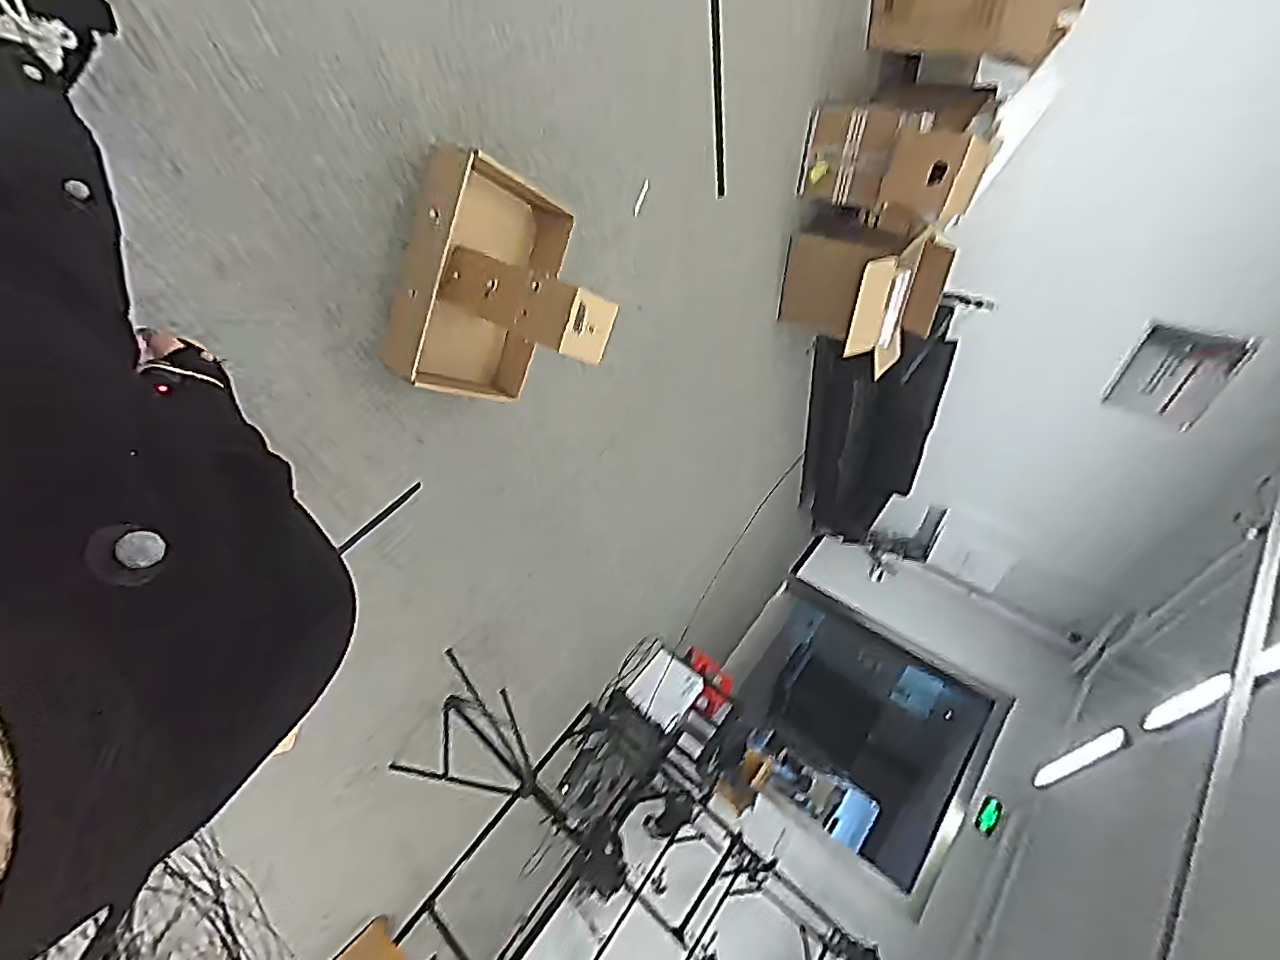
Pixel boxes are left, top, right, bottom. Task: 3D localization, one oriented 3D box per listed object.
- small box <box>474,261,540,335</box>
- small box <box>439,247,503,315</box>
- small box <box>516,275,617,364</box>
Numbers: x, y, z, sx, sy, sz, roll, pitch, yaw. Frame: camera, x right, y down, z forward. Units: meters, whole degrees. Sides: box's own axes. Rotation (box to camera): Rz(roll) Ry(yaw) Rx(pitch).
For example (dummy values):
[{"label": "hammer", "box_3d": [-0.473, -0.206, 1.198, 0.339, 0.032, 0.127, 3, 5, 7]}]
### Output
[{"label": "small box", "box_3d": [-0.326, -0.491, 1.503, 0.179, 0.176, 0.168, 4, 110, -57]}, {"label": "small box", "box_3d": [-0.450, -0.559, 1.582, 0.179, 0.176, 0.168, 6, 109, -58]}, {"label": "small box", "box_3d": [-0.198, -0.424, 1.426, 0.179, 0.176, 0.168, 1, 113, -59]}]
